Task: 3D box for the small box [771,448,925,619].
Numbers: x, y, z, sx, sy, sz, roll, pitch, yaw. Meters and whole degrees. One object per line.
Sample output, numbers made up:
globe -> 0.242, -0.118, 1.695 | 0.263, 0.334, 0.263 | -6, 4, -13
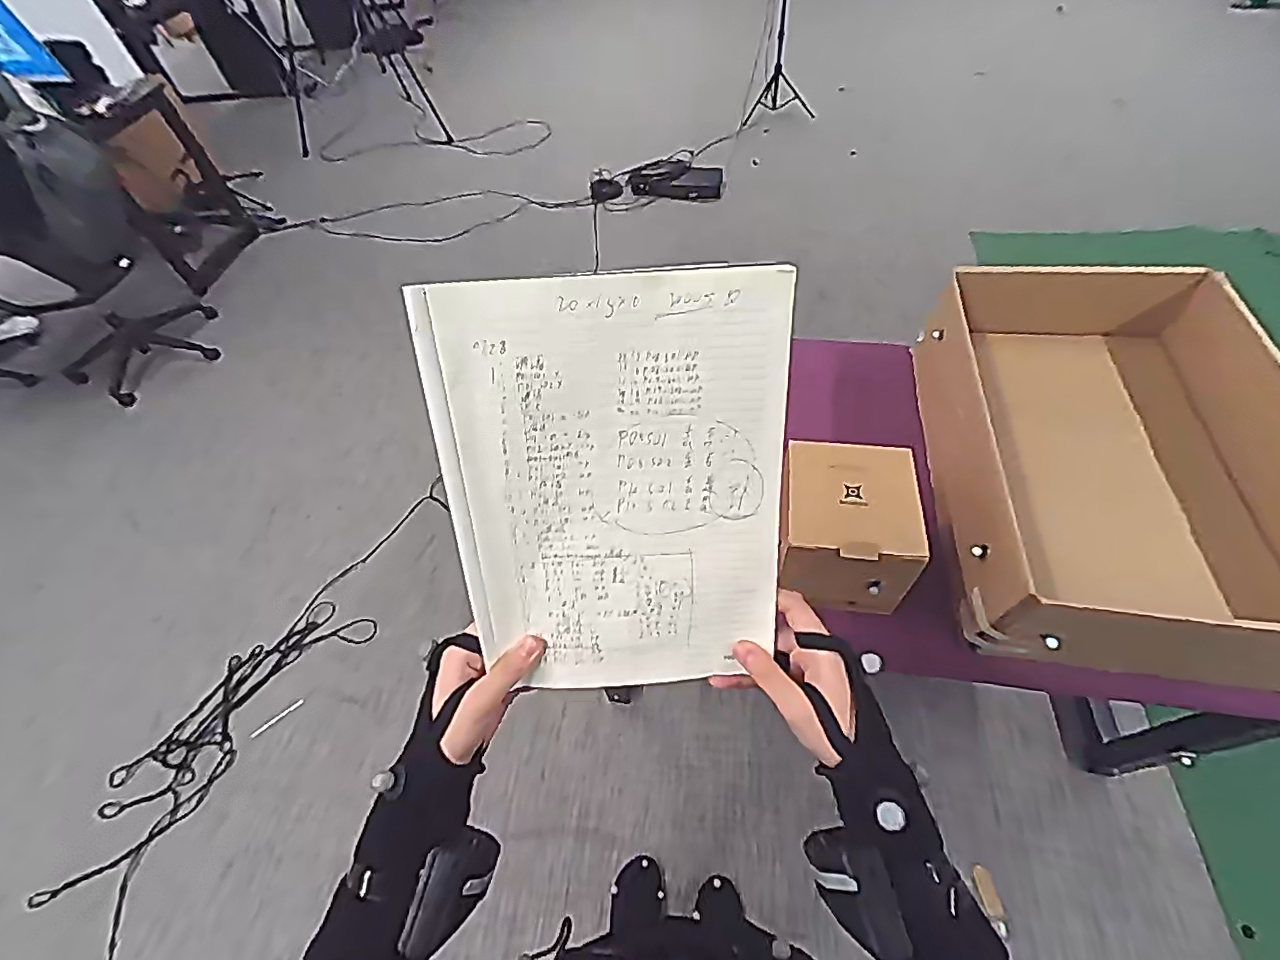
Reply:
small box -> 0.279, 0.078, 0.763 | 0.168, 0.176, 0.179 | 5, 52, 9
